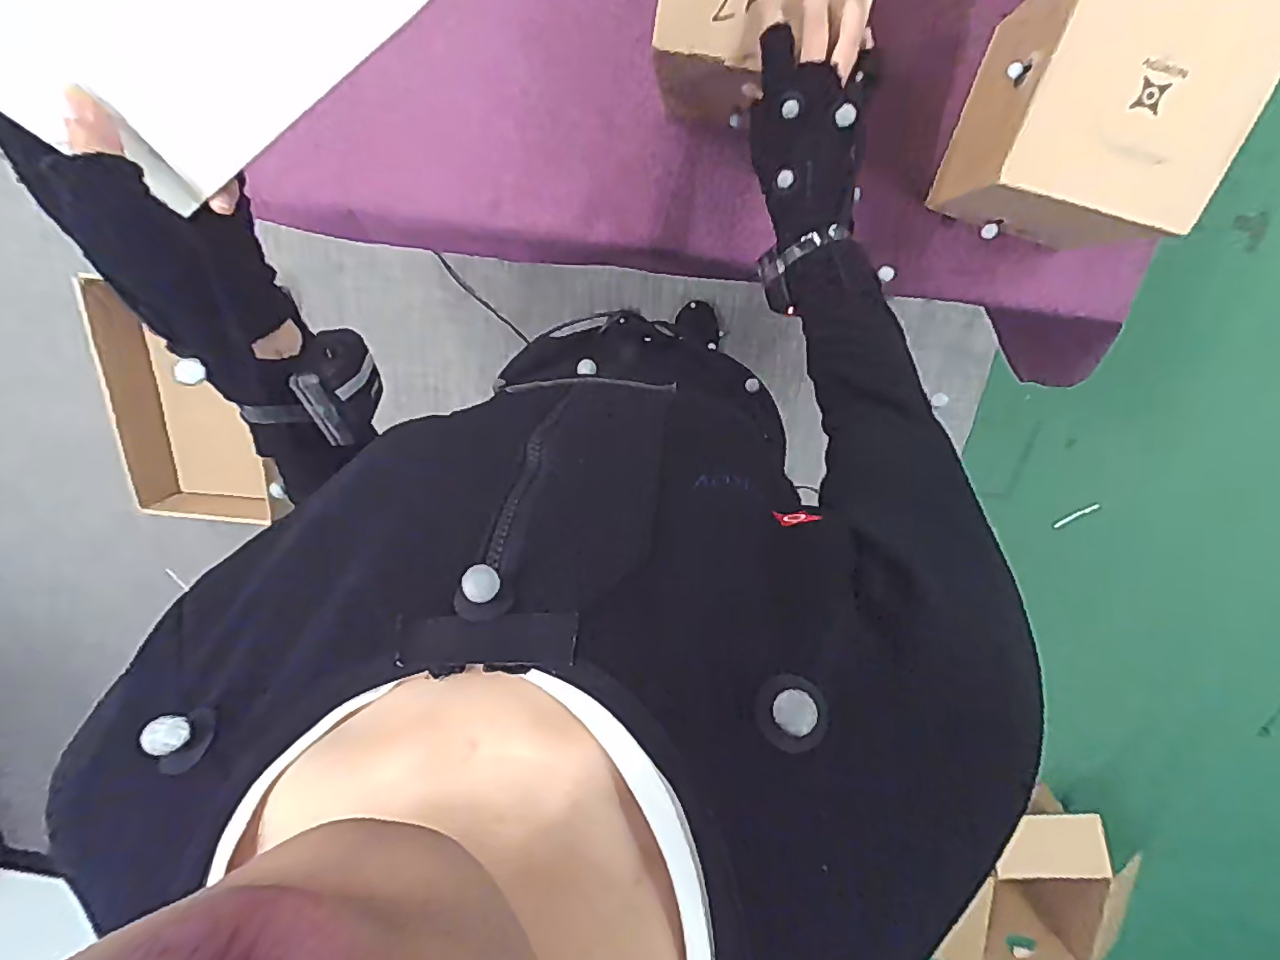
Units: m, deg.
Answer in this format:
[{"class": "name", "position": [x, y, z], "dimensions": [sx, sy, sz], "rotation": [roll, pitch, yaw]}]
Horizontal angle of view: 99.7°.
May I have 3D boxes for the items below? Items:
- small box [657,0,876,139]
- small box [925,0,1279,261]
[{"class": "small box", "position": [0.113, -0.438, 0.483], "dimensions": [0.168, 0.176, 0.179], "rotation": [11, 110, 1]}, {"class": "small box", "position": [0.403, -0.319, 0.503], "dimensions": [0.168, 0.176, 0.179], "rotation": [17, 110, 0]}]
